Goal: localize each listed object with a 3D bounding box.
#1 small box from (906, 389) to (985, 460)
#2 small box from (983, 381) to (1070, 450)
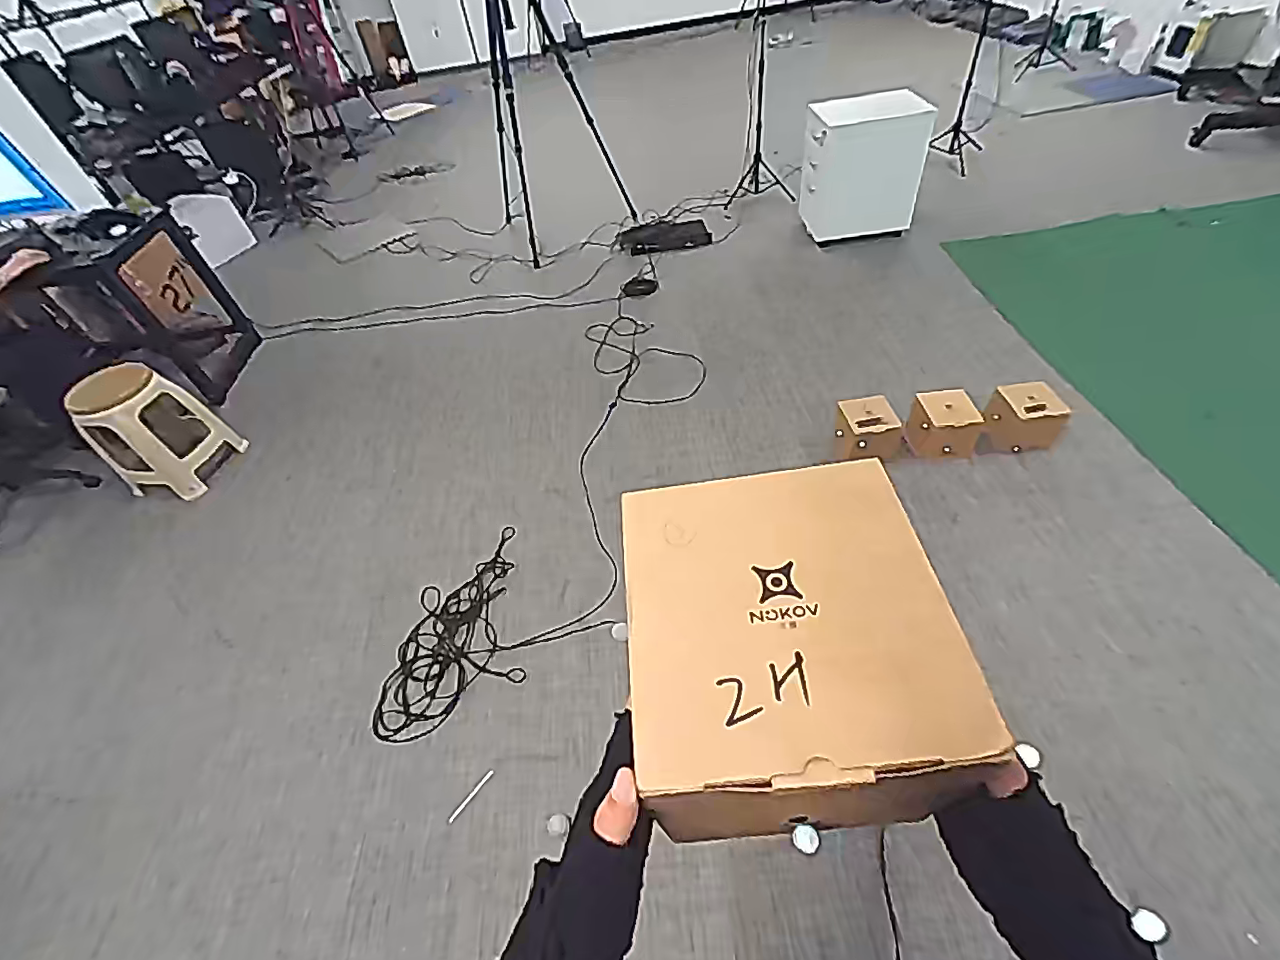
[{"bbox_3d":[1.067,-0.194,1.906,0.168,0.176,0.179,-6,48,3],"label":"small box"},{"bbox_3d":[1.335,-0.217,1.885,0.168,0.176,0.179,-7,47,3],"label":"small box"}]
